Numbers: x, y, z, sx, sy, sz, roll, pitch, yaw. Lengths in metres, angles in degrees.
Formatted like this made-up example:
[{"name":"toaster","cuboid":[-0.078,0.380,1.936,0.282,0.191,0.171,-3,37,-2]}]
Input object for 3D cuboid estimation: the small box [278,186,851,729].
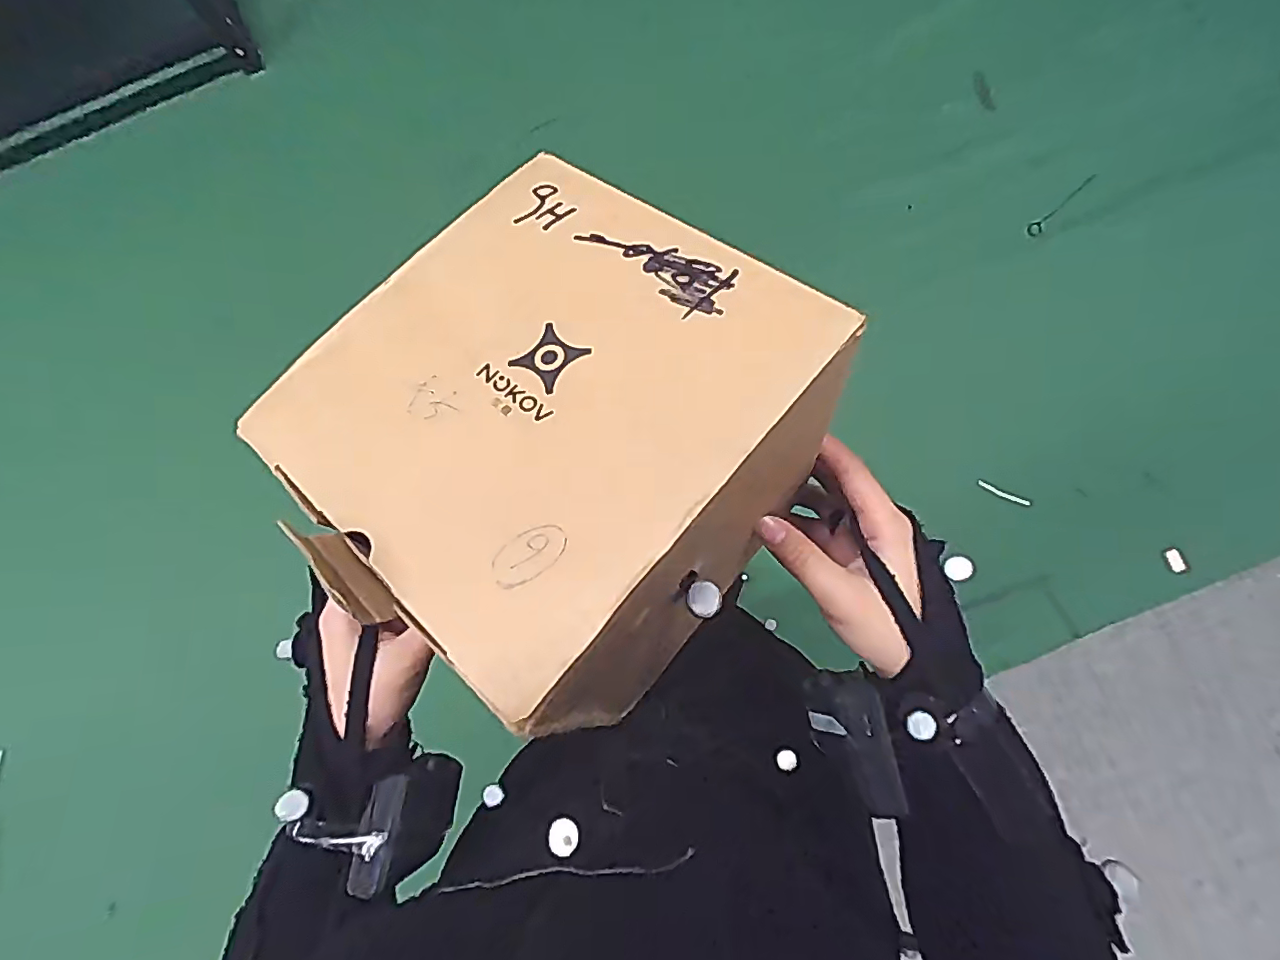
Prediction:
[{"name":"small box","cuboid":[-0.022,0.000,0.282,0.168,0.176,0.179,37,78,21]}]
